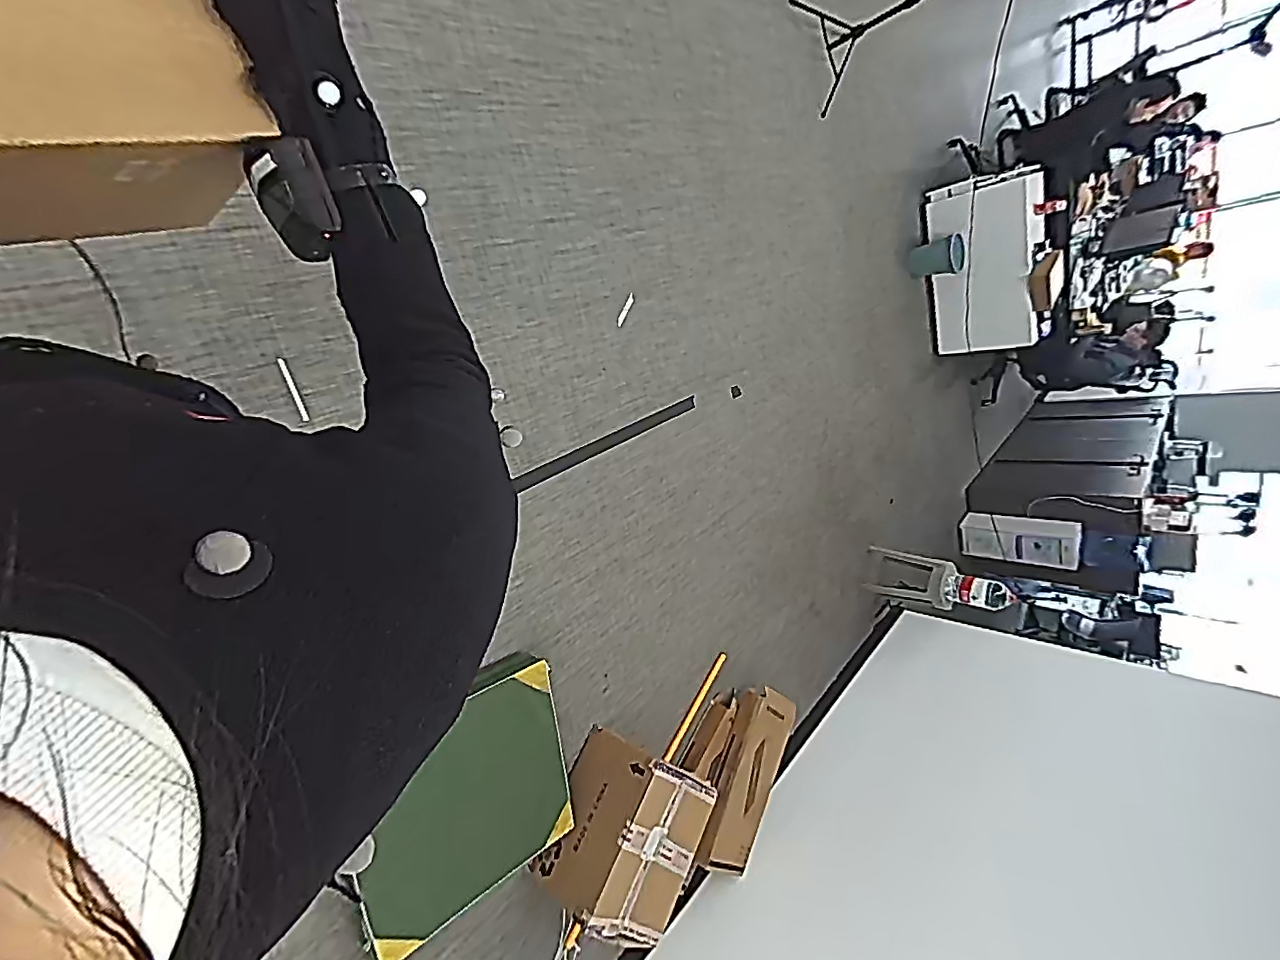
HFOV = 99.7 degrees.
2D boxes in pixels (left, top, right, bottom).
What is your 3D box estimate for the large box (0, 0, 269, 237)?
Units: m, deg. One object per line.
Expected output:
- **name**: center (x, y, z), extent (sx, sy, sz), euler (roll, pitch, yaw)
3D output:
- **large box**: center (-0.514, -0.307, 0.281), extent (0.408, 0.320, 0.320), euler (-32, 121, -39)
